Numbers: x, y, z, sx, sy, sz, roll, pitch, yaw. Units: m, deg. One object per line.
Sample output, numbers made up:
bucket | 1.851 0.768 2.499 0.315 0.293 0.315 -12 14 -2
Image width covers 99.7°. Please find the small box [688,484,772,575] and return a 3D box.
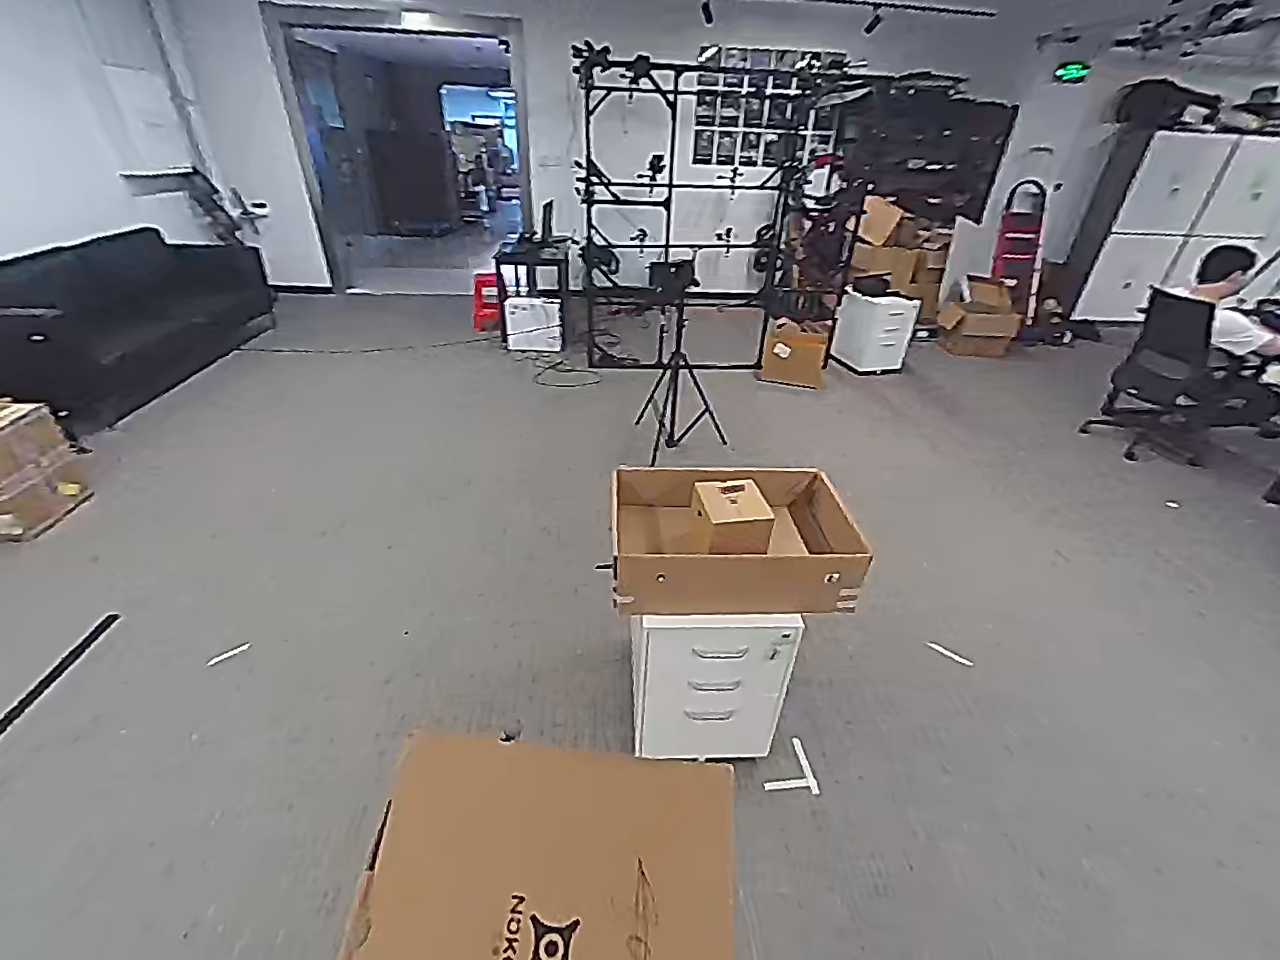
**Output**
small box | 0.230 0.130 1.440 0.168 0.176 0.179 -4 34 -10
